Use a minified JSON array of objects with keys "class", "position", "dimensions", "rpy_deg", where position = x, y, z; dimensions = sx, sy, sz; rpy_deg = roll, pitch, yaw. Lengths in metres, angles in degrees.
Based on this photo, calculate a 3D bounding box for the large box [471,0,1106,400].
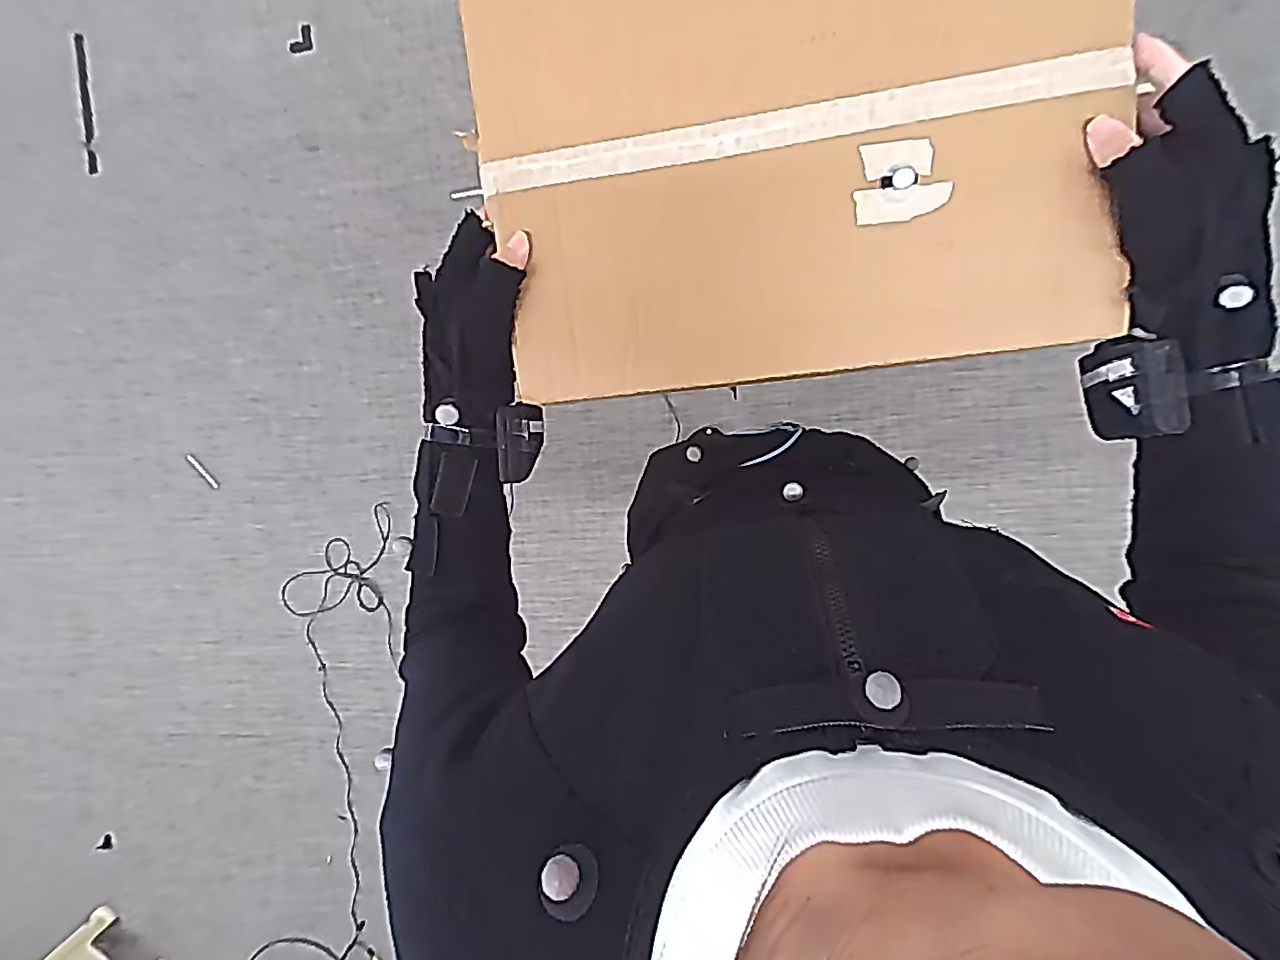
[{"class":"large box","position":[0.108,-0.256,0.510],"dimensions":[0.408,0.320,0.320],"rpy_deg":[-6,99,7]}]
